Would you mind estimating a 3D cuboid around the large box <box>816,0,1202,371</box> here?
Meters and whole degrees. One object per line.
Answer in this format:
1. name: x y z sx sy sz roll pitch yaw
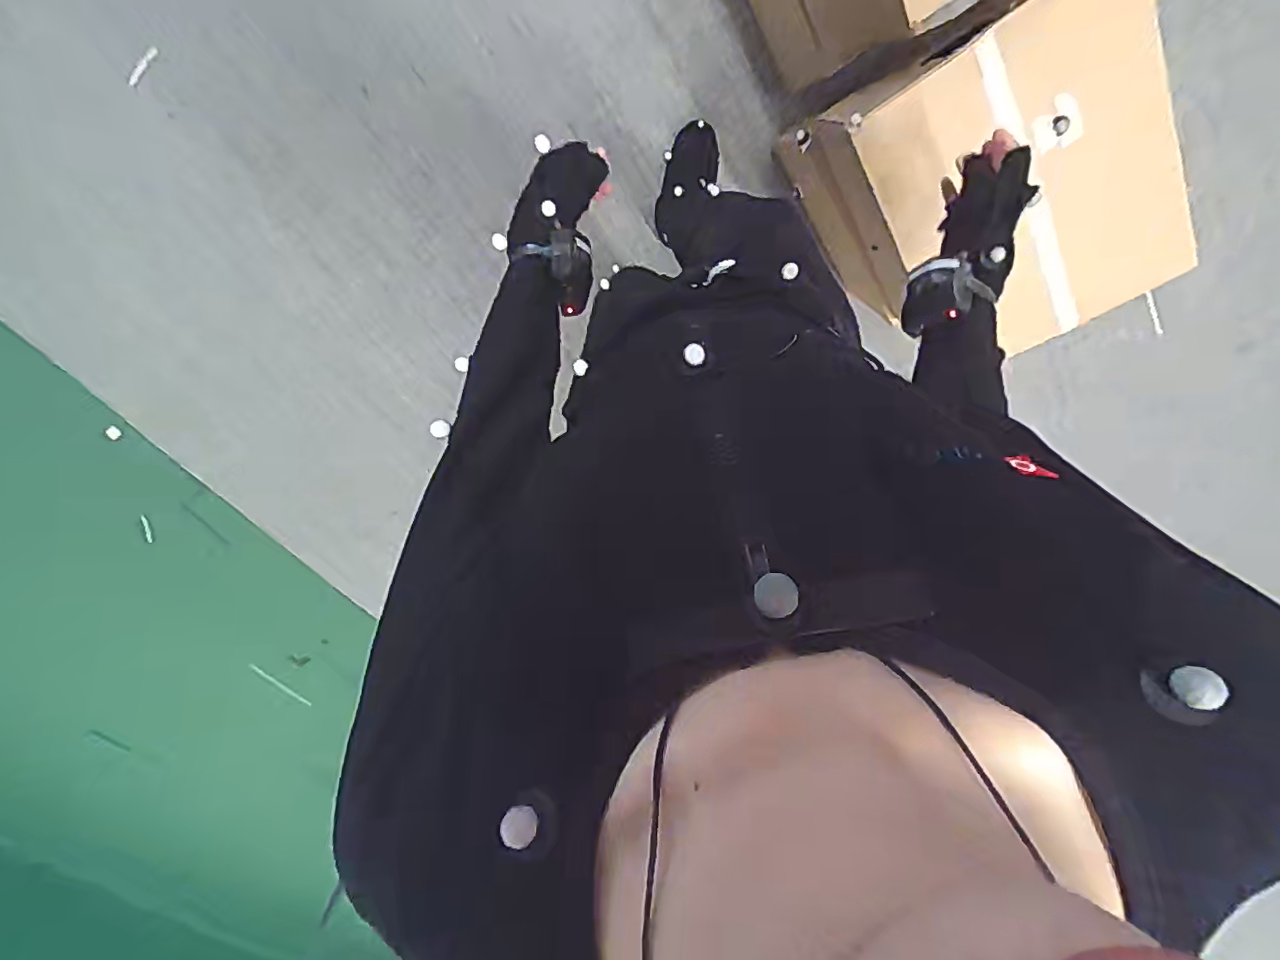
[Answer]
1. large box: 0.507 -0.448 0.804 0.320 0.320 0.408 -28 115 24
